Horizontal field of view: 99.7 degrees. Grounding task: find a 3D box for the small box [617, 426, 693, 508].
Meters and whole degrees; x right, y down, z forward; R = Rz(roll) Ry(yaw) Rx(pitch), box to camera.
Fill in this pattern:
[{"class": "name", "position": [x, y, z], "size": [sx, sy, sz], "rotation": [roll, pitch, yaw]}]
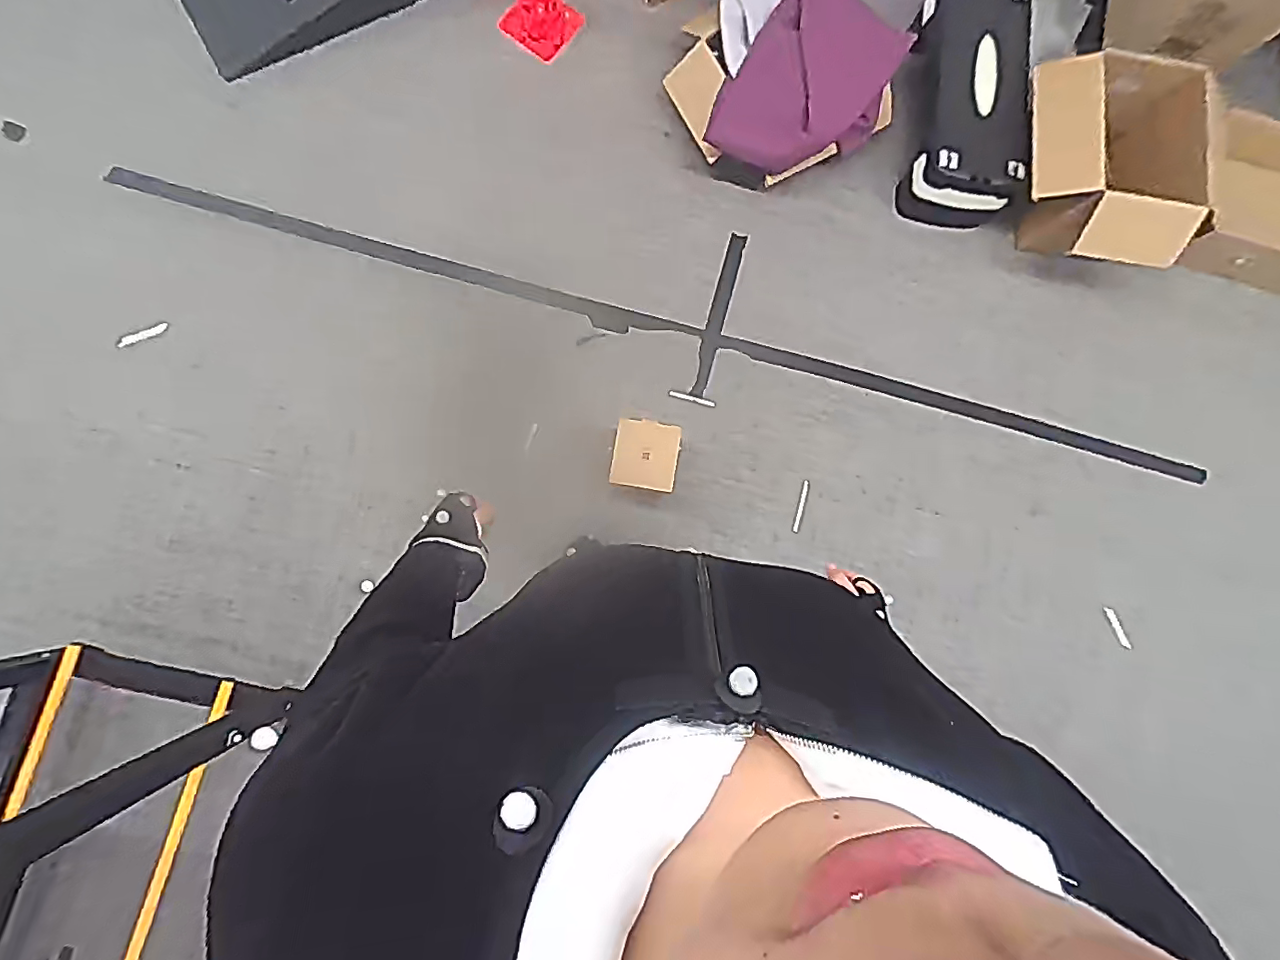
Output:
[{"class": "small box", "position": [0.032, -0.026, 1.383], "size": [0.168, 0.176, 0.179], "rotation": [8, 85, -3]}]
